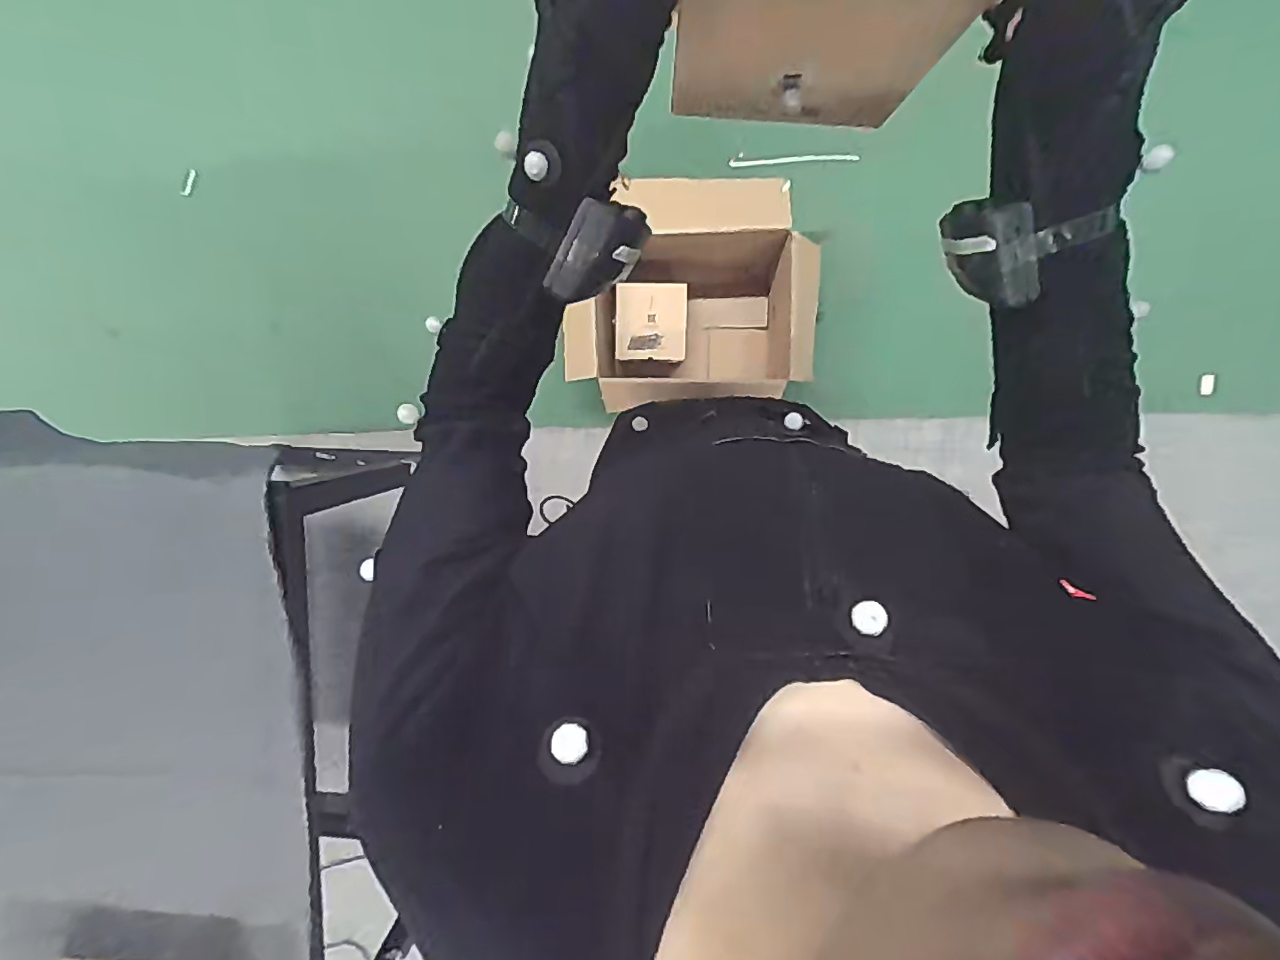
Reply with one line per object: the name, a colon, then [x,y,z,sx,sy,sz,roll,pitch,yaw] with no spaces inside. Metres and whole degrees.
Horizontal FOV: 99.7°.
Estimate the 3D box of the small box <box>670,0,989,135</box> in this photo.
small box: [0.108,-0.349,0.329,0.168,0.176,0.179,4,99,0]
